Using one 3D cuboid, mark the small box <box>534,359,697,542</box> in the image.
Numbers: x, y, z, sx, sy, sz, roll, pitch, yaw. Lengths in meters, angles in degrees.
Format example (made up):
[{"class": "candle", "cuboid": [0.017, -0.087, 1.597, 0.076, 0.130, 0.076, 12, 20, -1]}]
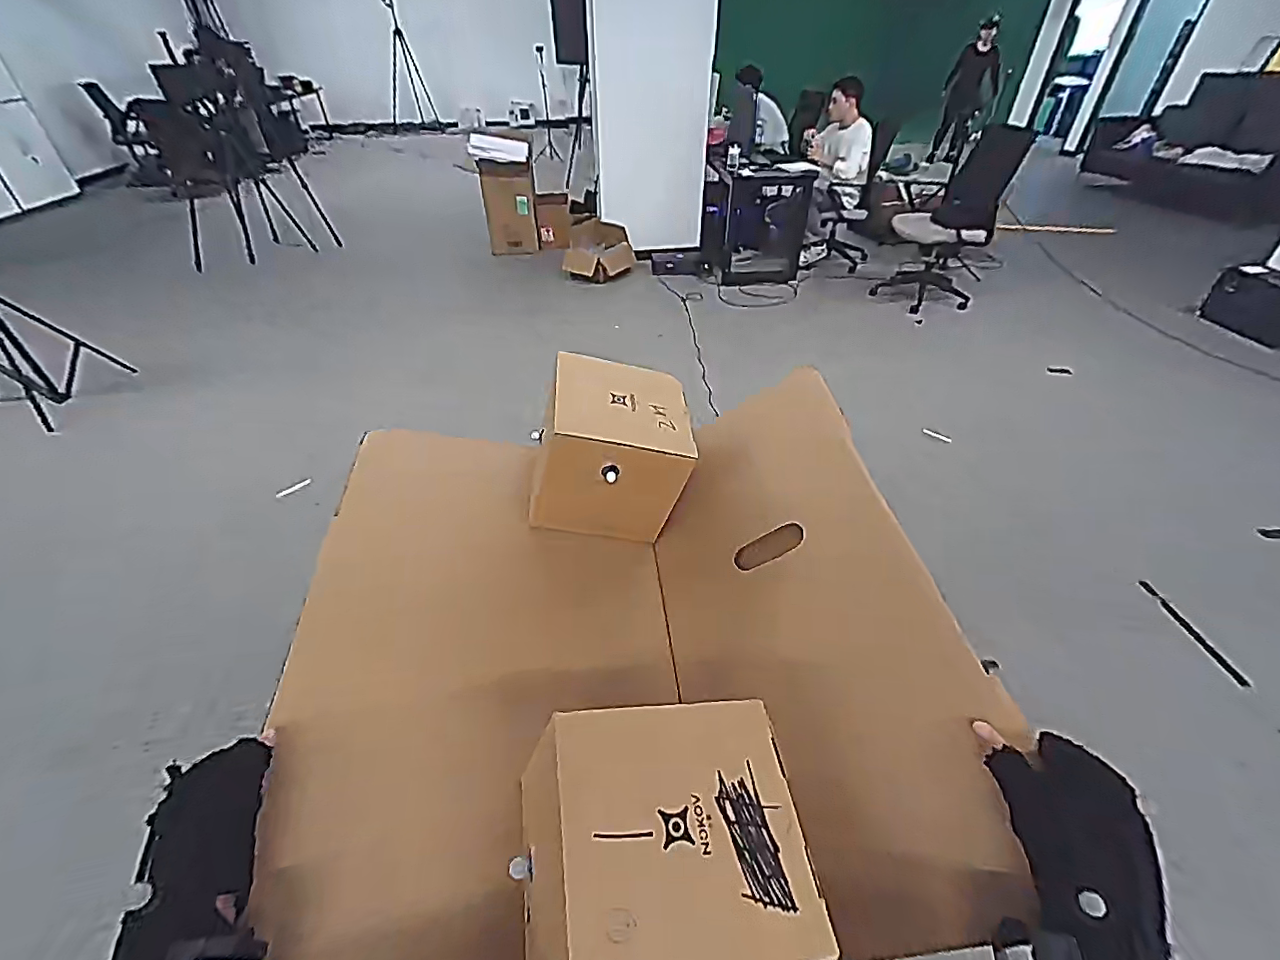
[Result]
[{"class": "small box", "cuboid": [-0.042, -0.034, 0.732, 0.179, 0.176, 0.168, 10, 44, -15]}]
